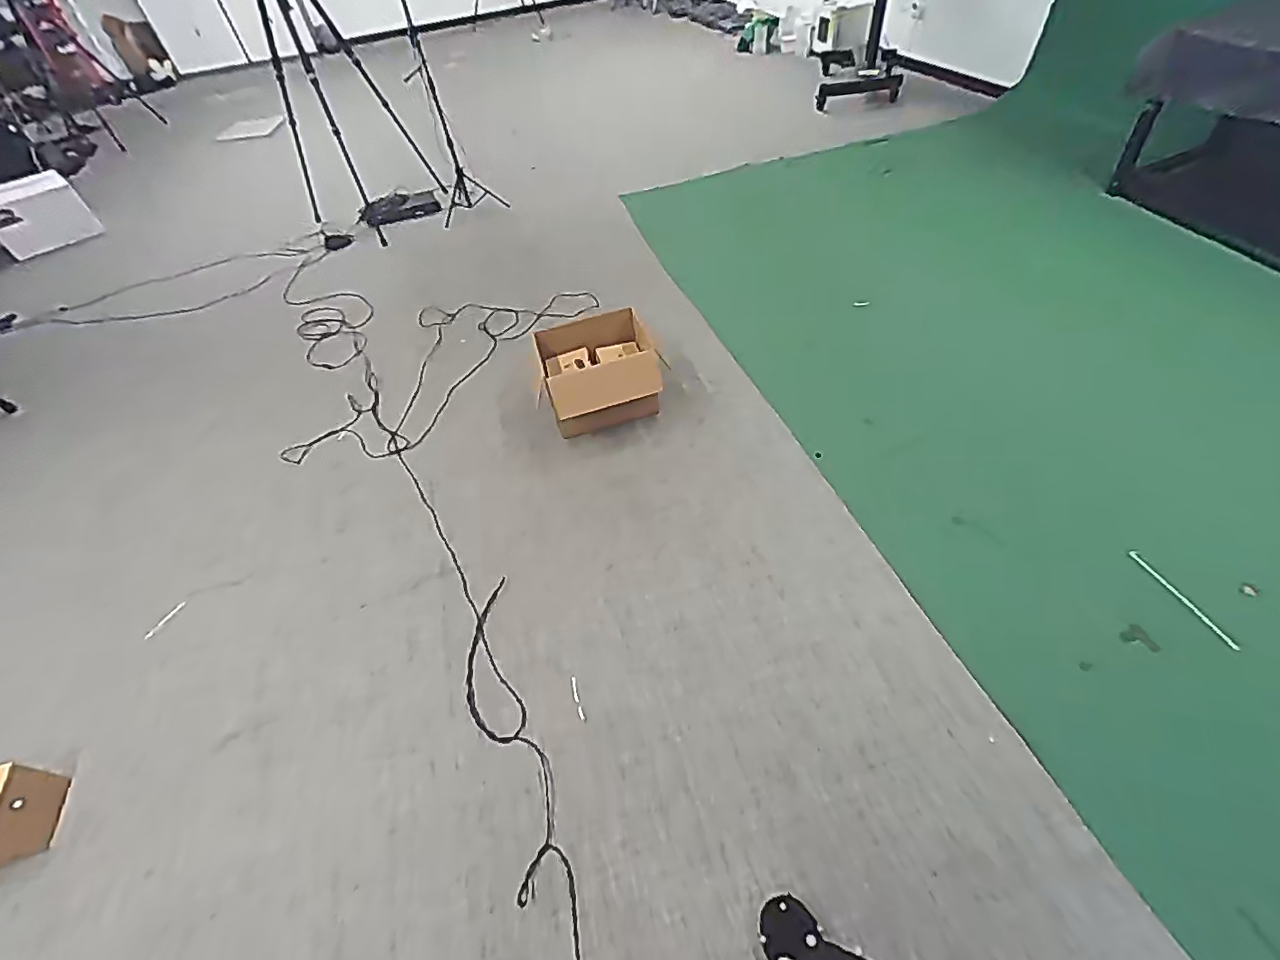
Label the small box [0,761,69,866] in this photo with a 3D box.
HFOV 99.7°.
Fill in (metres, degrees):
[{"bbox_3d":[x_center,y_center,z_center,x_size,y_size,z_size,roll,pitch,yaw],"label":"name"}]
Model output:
[{"bbox_3d":[-1.568,0.822,1.316,0.168,0.176,0.179,-18,51,-9],"label":"small box"}]
